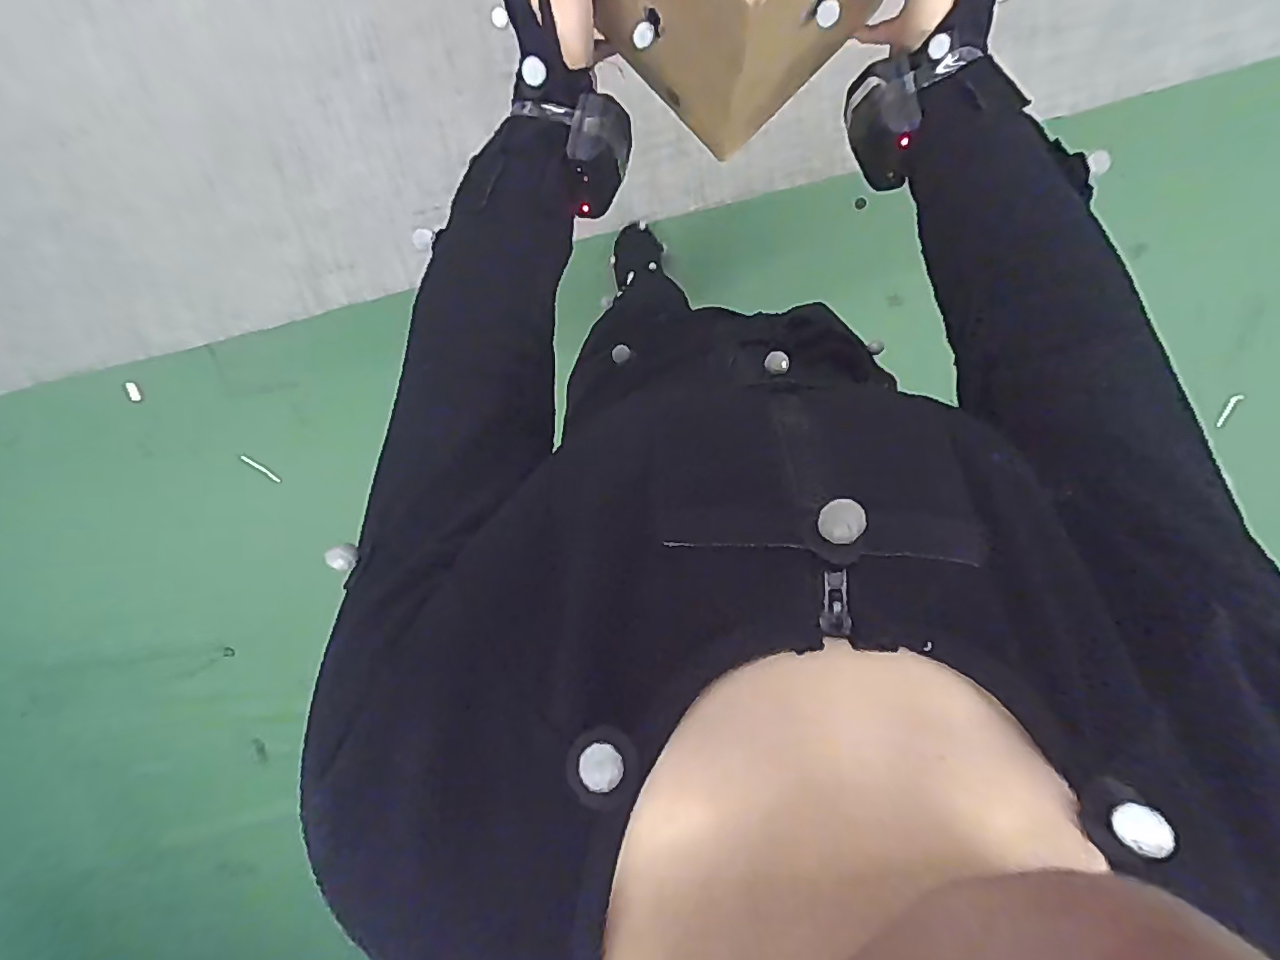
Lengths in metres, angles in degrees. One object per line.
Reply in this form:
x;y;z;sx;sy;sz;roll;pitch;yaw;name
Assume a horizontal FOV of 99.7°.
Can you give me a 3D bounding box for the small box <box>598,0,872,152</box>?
0.072;-0.379;0.371;0.179;0.176;0.168;-44;90;6;small box
